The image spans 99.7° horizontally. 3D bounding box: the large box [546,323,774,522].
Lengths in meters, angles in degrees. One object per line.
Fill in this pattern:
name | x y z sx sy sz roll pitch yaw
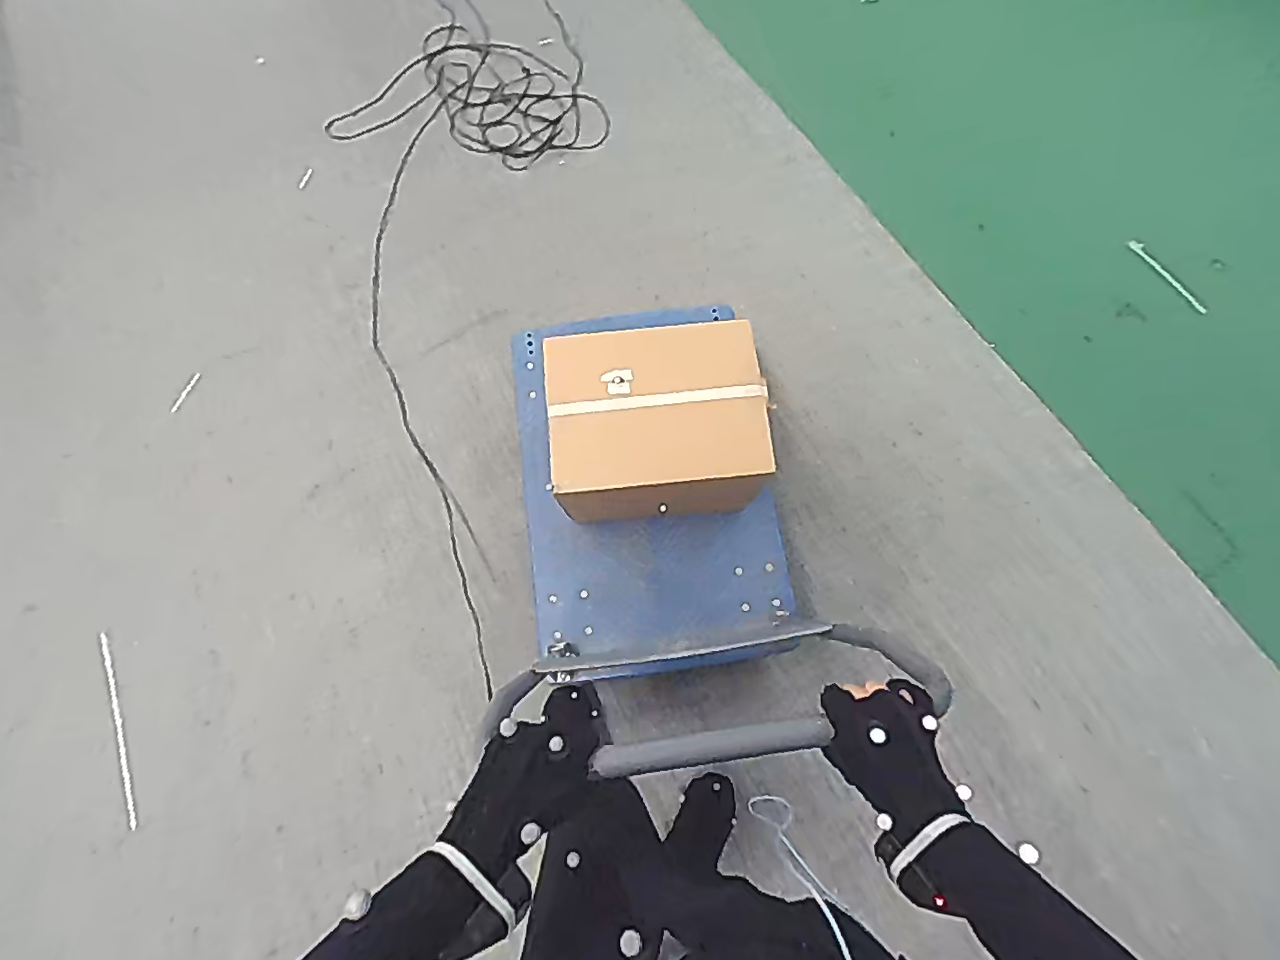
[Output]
large box | 0.036 -0.100 1.148 0.408 0.320 0.320 -6 76 0
